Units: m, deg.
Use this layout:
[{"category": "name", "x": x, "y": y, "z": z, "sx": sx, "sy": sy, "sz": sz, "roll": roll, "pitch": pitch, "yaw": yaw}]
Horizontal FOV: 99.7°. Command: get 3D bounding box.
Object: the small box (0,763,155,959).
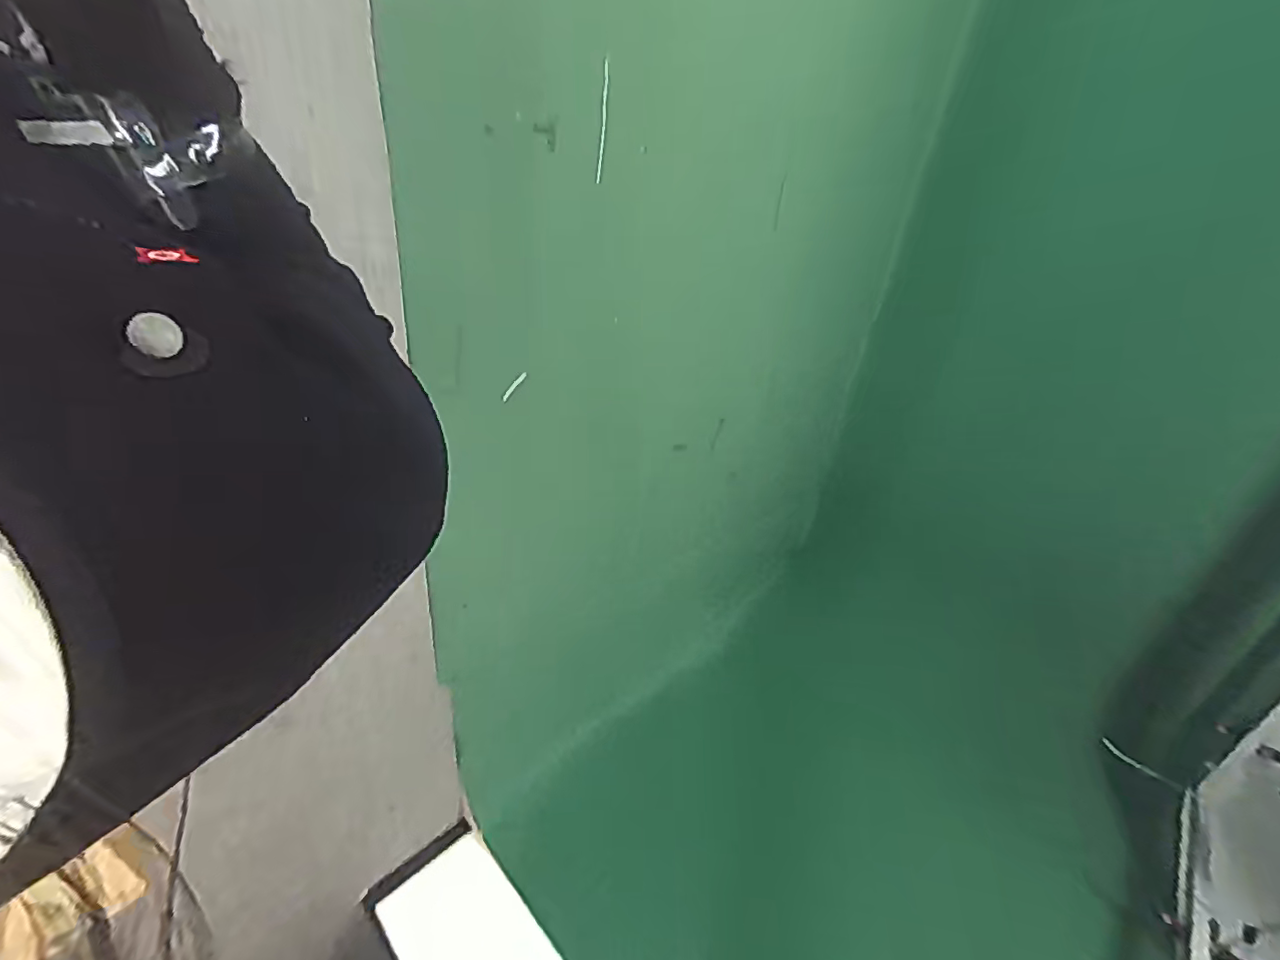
[{"category": "small box", "x": -0.903, "y": 0.578, "z": 0.835, "sx": 0.168, "sy": 0.176, "sz": 0.179, "roll": -27, "pitch": 131, "yaw": -38}]
